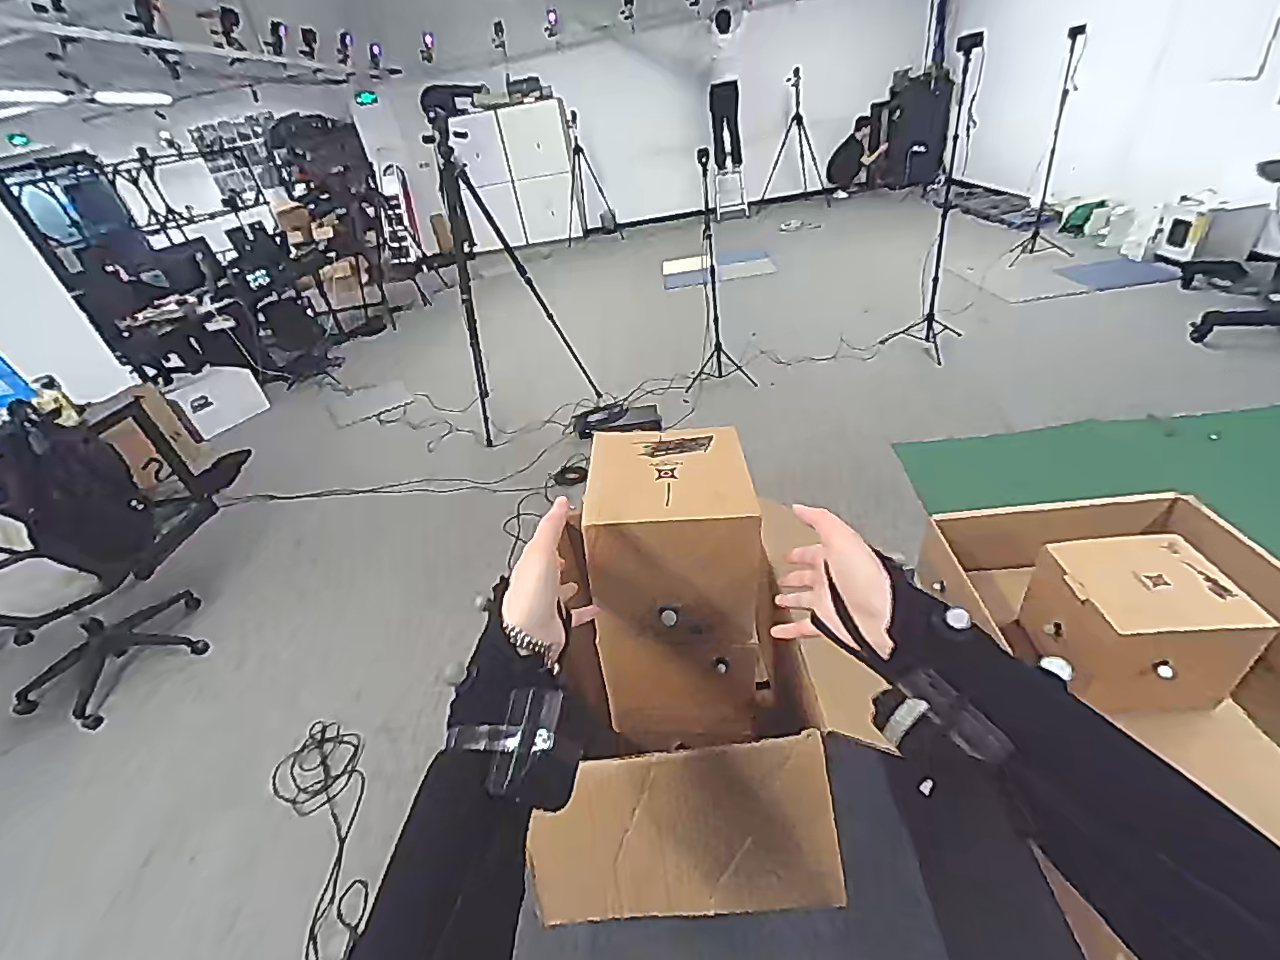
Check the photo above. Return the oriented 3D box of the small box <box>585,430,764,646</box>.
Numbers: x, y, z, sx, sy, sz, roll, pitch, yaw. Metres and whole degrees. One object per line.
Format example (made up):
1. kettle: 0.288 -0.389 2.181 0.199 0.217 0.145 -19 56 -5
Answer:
1. small box: 0.036 0.060 0.600 0.168 0.176 0.179 -3 34 3
